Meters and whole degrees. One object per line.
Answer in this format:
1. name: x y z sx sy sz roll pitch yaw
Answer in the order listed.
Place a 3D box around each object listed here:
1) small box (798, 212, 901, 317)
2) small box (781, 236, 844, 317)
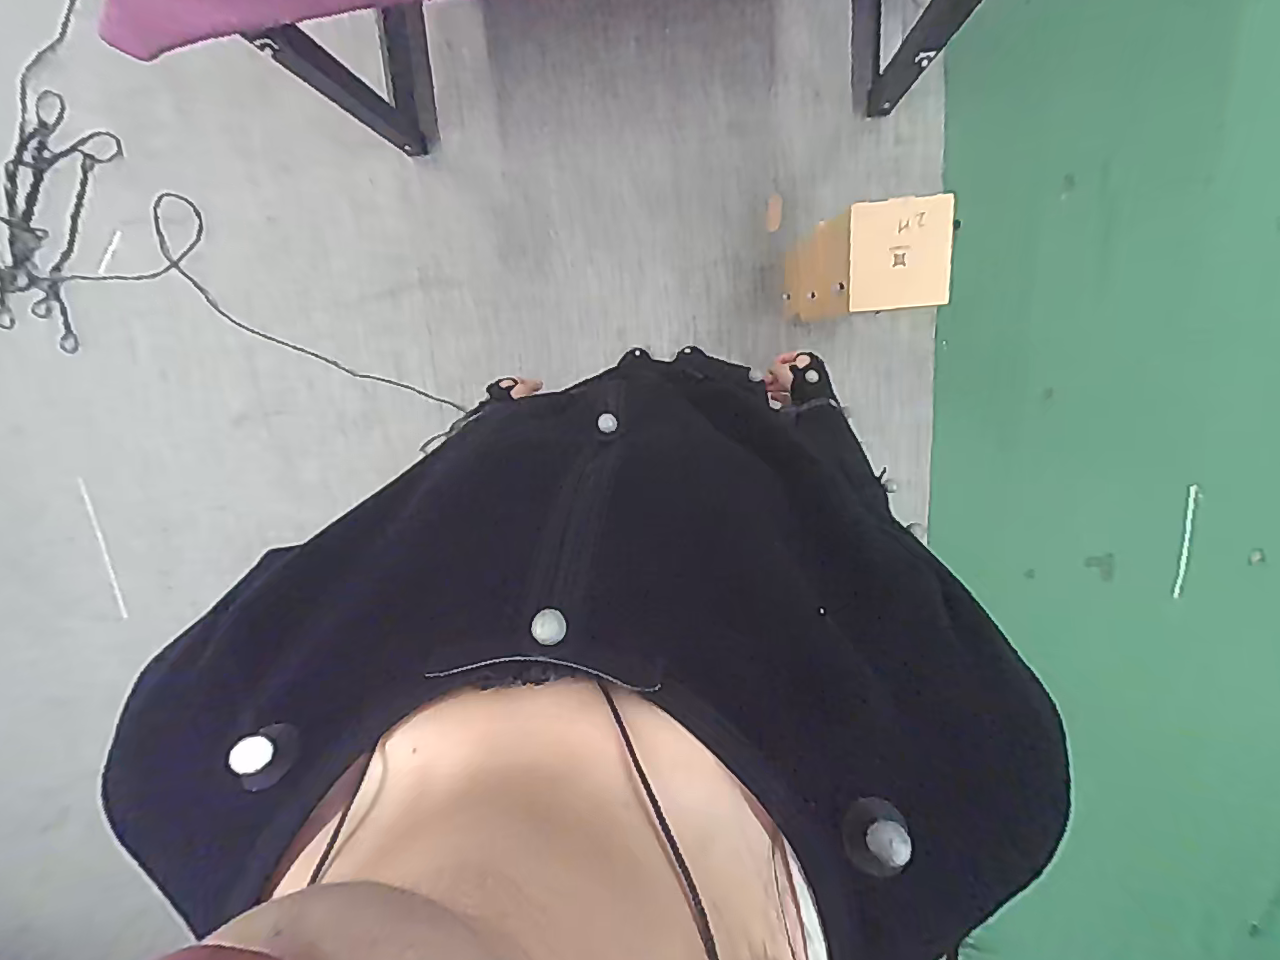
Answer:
1. small box: 0.432 -0.444 1.138 0.168 0.176 0.179 -4 104 5
2. small box: 0.438 -0.483 1.294 0.179 0.176 0.168 -1 103 4
